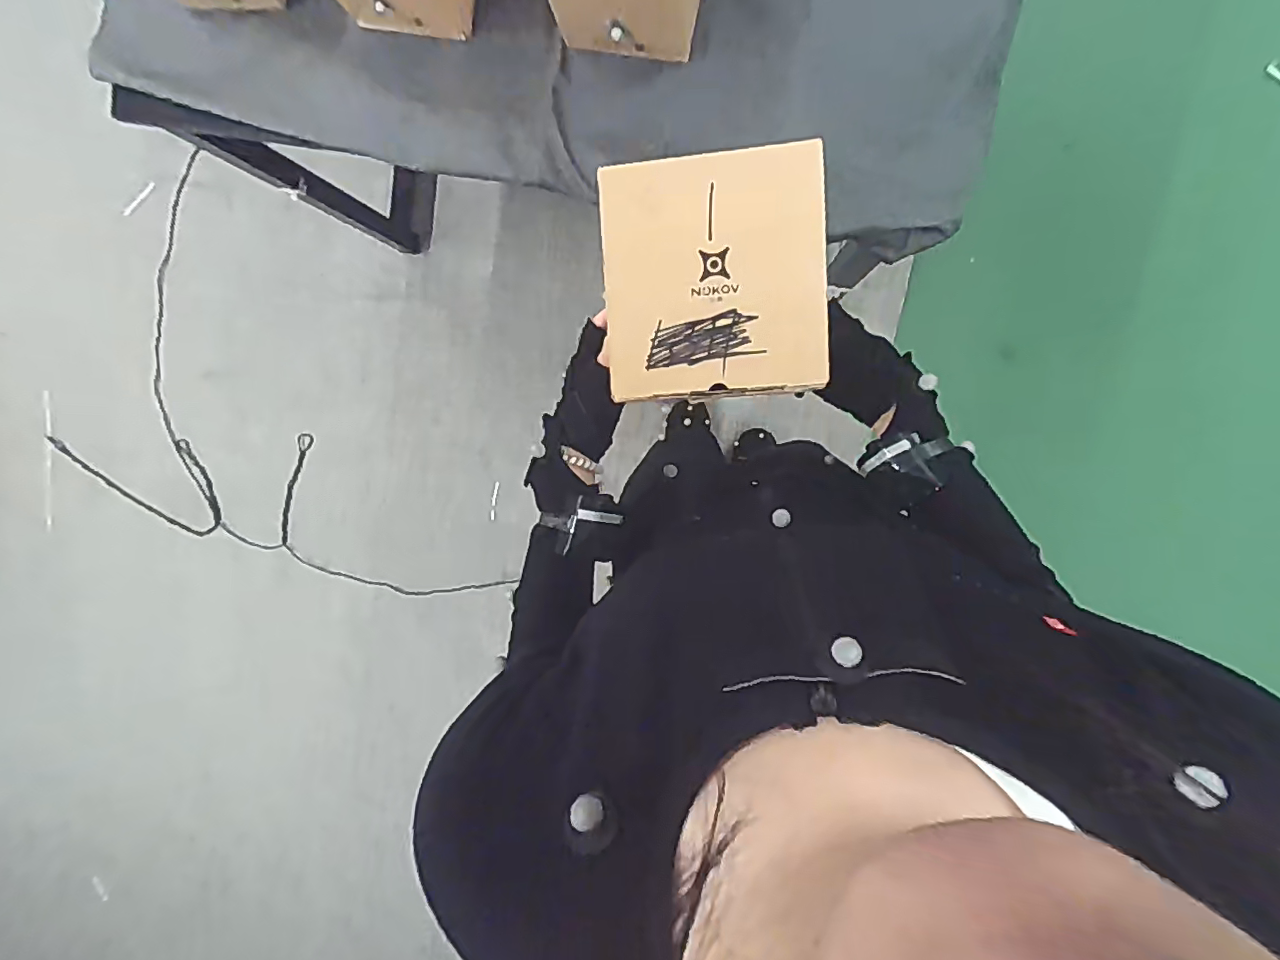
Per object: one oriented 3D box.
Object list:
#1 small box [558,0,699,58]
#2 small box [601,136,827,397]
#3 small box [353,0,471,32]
[{"bbox_3d":[-0.011,-0.632,0.609,0.168,0.176,0.179,13,98,6],"label":"small box"},{"bbox_3d":[0.065,-0.167,0.482,0.168,0.176,0.179,-3,98,7],"label":"small box"},{"bbox_3d":[-0.302,-0.690,0.640,0.168,0.176,0.179,12,99,5],"label":"small box"}]
